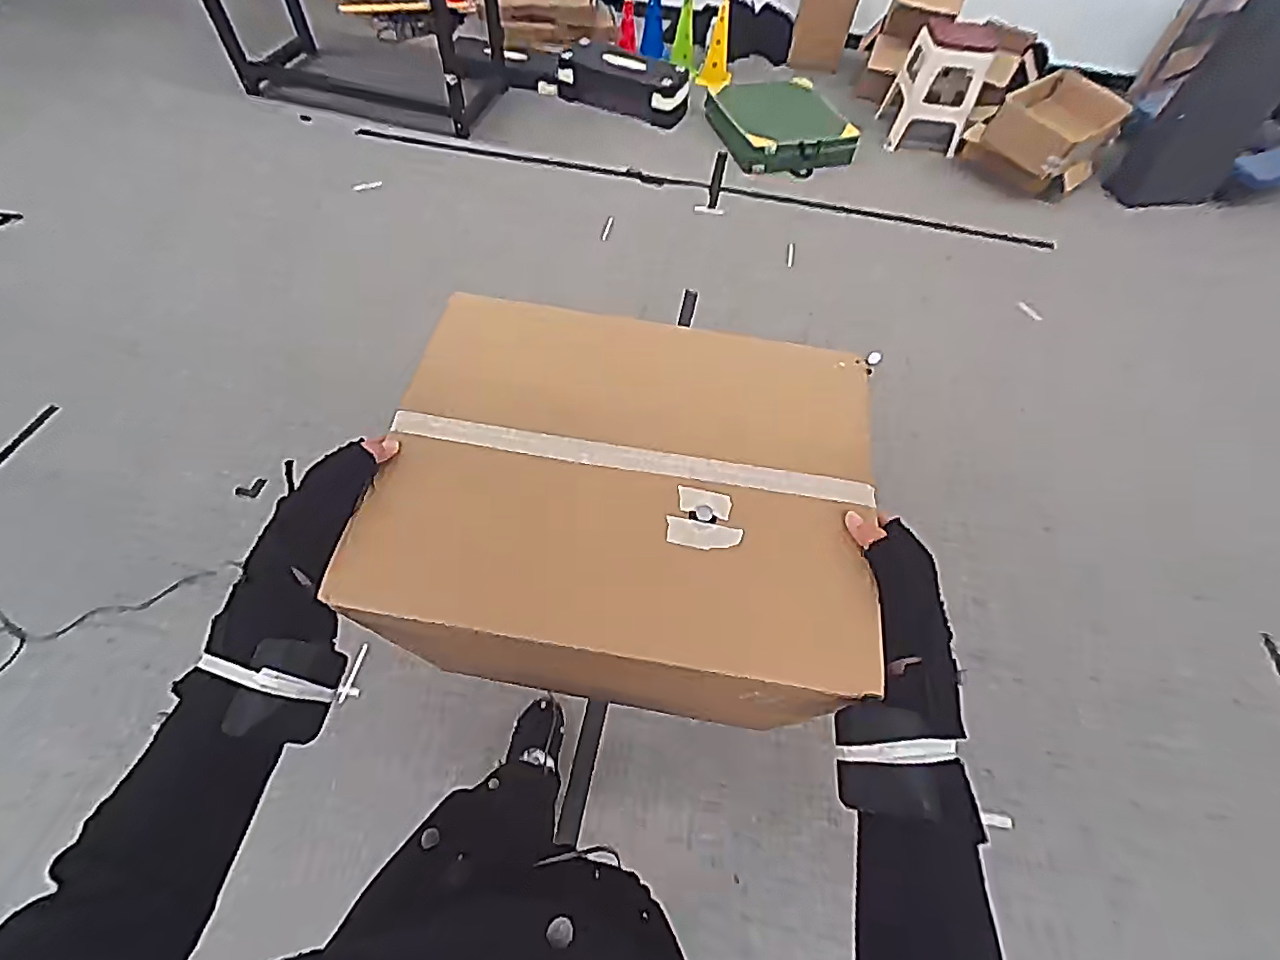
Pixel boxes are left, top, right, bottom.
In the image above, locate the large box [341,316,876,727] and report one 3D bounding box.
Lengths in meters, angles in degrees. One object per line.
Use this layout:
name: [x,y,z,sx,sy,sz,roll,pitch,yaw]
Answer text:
large box: [-0.014,0.065,0.591,0.408,0.320,0.320,9,63,2]
